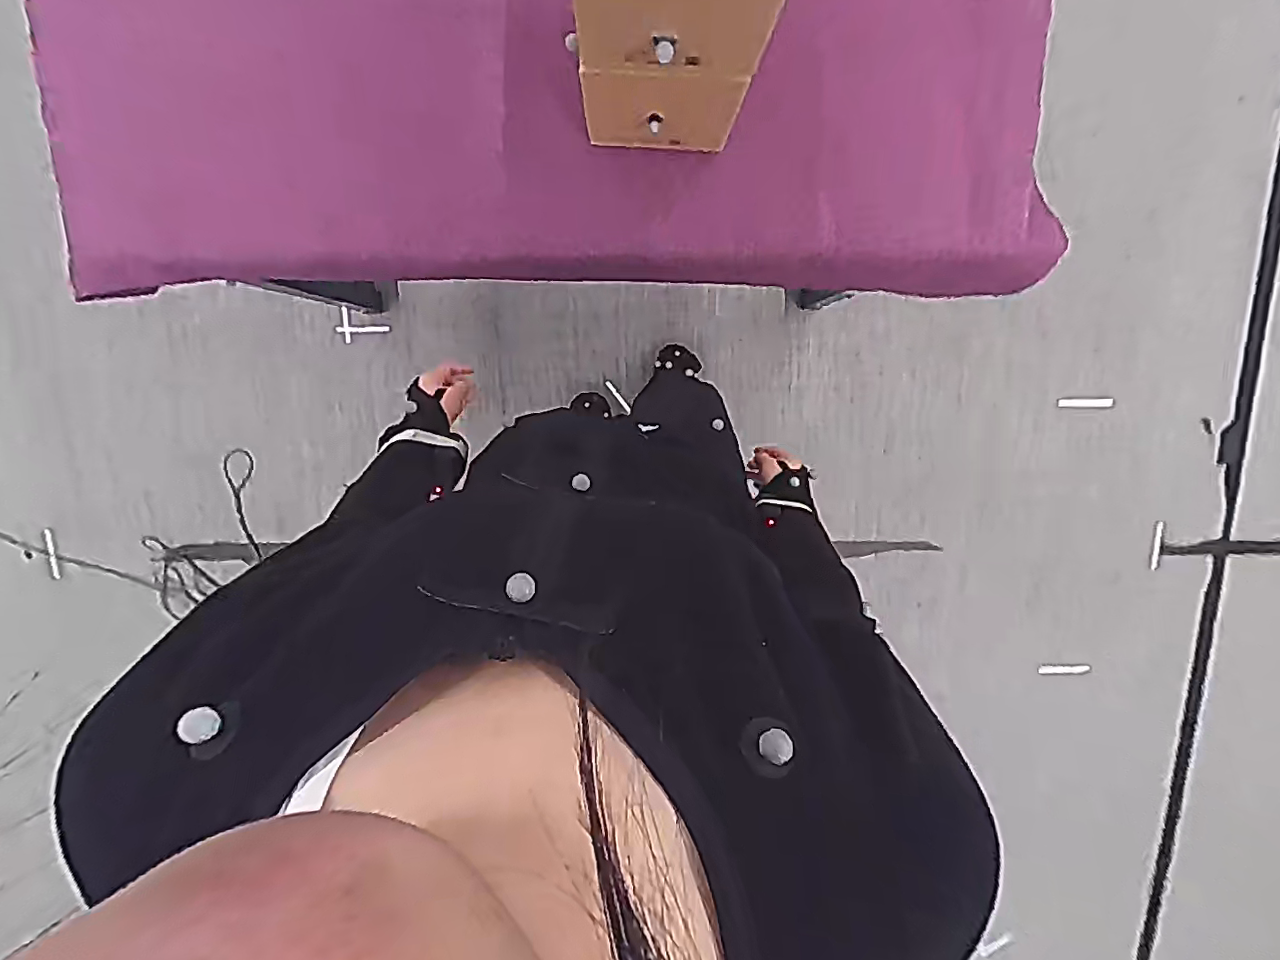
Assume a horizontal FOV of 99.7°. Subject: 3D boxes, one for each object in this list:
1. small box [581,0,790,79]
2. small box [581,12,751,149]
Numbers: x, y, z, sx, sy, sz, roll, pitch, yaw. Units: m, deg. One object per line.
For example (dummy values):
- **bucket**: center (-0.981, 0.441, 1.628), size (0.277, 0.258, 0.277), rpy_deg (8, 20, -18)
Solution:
- **small box**: center (0.037, -0.456, 0.417), size (0.168, 0.176, 0.179), rpy_deg (2, 101, -2)
- **small box**: center (0.029, -0.482, 0.579), size (0.168, 0.176, 0.179), rpy_deg (3, 100, -2)
